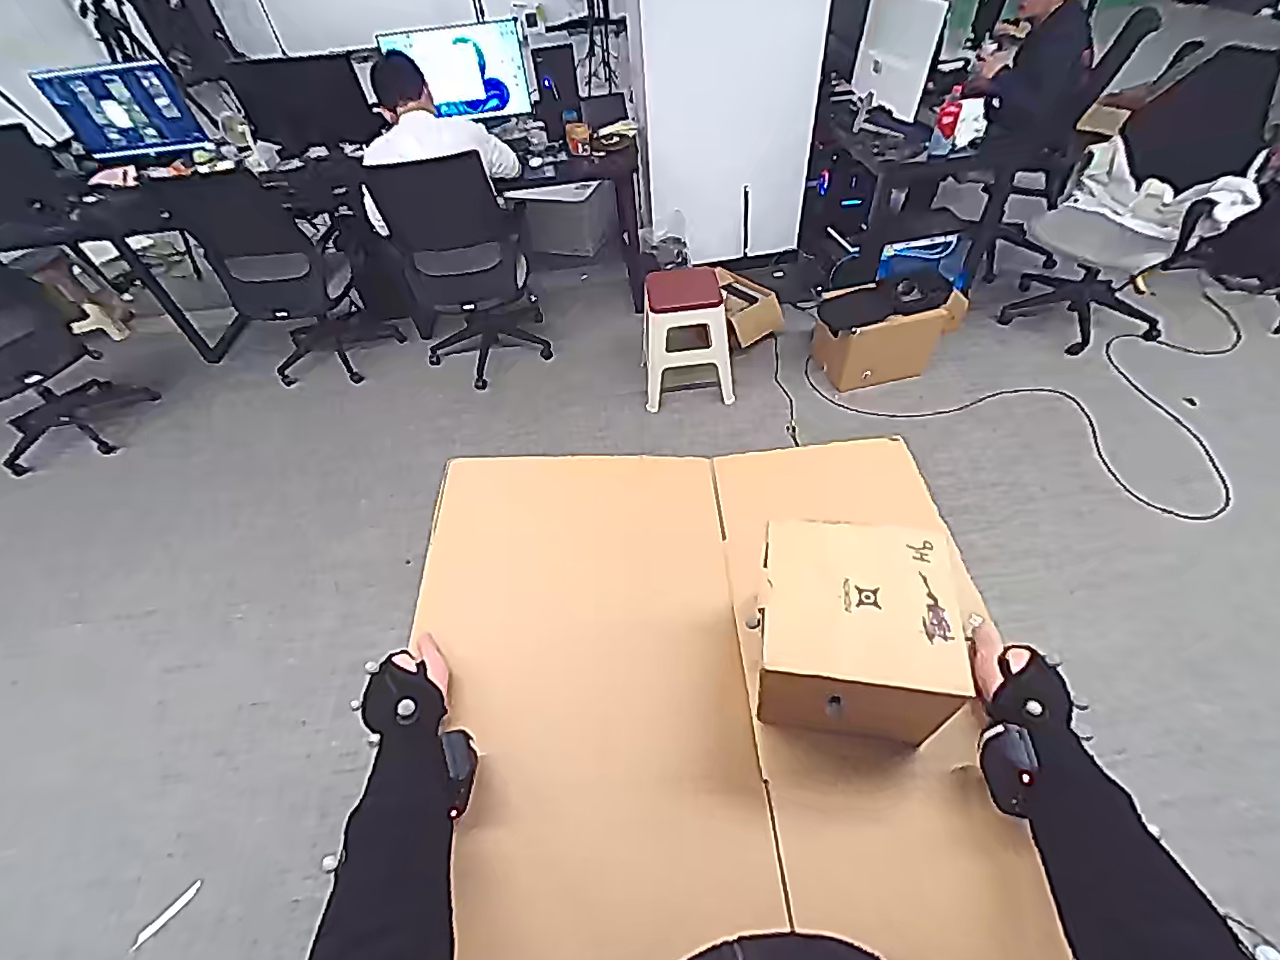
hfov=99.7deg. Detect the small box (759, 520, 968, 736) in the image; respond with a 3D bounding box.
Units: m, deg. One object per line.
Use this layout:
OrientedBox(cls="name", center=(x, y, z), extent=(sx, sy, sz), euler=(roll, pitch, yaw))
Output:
OrientedBox(cls="small box", center=(0.222, 0.161, 0.583), extent=(0.179, 0.176, 0.168), euler=(3, 53, 14))
